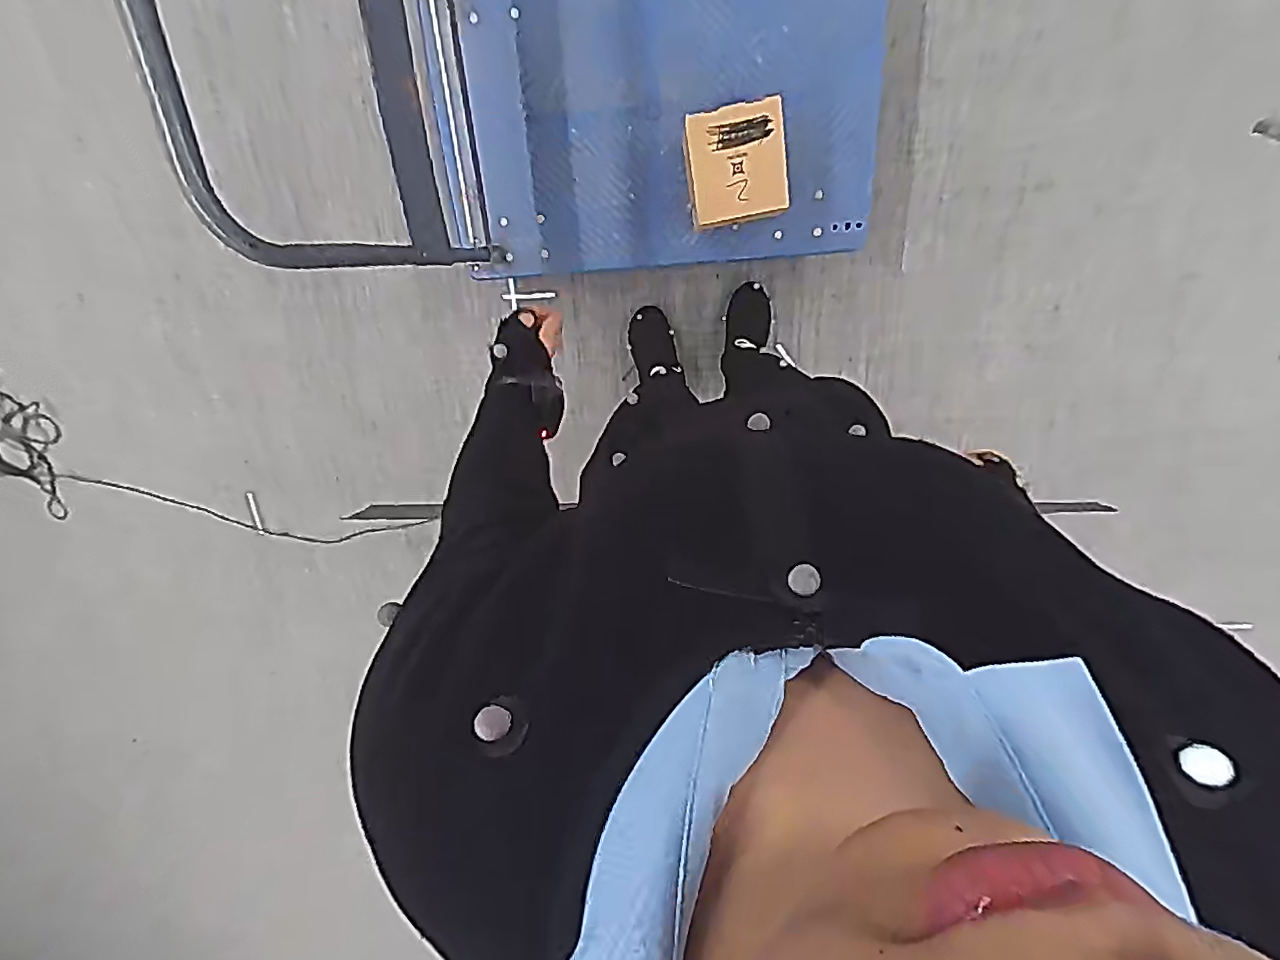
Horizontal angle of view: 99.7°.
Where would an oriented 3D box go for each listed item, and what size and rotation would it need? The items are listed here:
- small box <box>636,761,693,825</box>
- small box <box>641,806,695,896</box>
[{"bbox_3d":[0.090,1.115,1.875,0.168,0.176,0.179,-13,110,7],"label":"small box"},{"bbox_3d":[0.089,1.180,1.725,0.168,0.176,0.179,-1,111,3],"label":"small box"}]
